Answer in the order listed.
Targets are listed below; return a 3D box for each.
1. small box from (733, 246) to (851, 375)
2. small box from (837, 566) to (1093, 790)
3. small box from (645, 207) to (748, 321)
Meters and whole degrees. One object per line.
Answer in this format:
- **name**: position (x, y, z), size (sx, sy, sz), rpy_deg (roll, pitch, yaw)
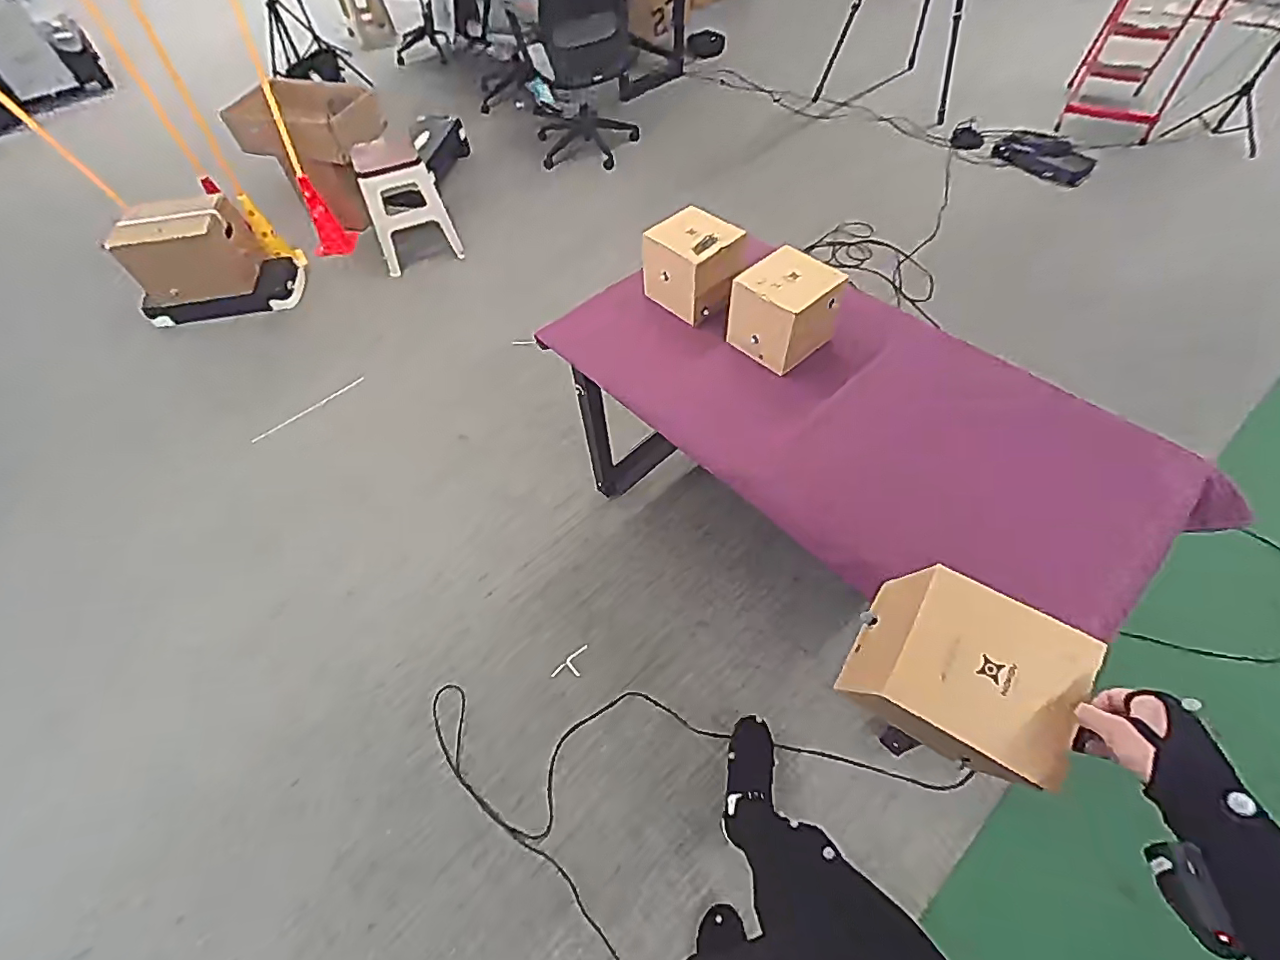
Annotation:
- **small box**: position (0.319, -0.365, 1.172), size (0.179, 0.176, 0.168), rpy_deg (-38, 61, -20)
- **small box**: position (0.370, 0.226, 0.646), size (0.179, 0.176, 0.168), rpy_deg (30, 74, 11)
- **small box**: position (0.131, -0.503, 1.277), size (0.168, 0.176, 0.179), rpy_deg (-38, 61, -21)
